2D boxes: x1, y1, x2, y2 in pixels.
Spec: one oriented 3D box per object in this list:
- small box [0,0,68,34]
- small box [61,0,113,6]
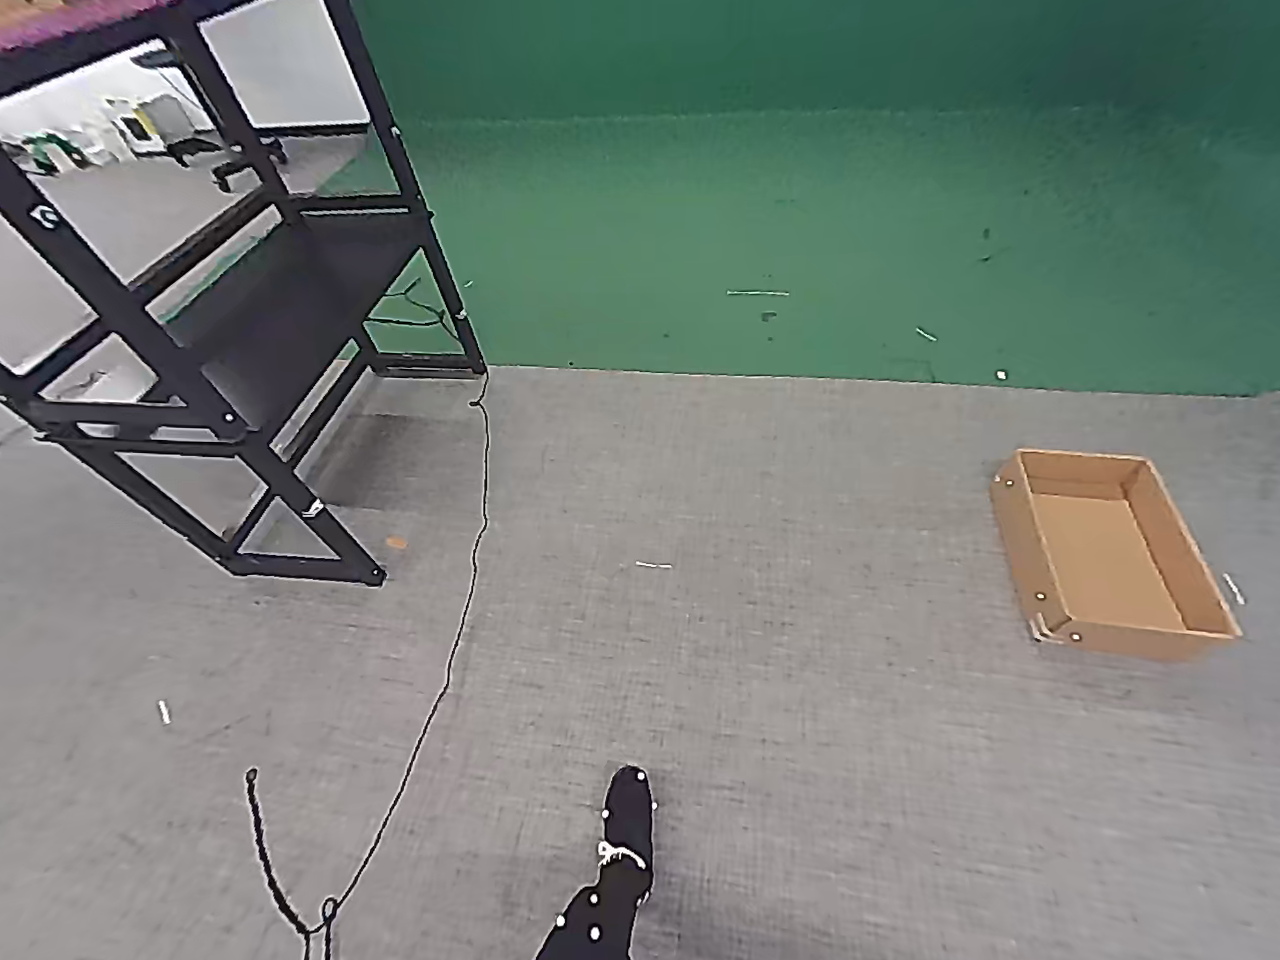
[{"bbox_3d":[-1.102,-0.815,0.854,0.179,0.176,0.168,3,51,8],"label":"small box"},{"bbox_3d":[-1.082,-1.040,1.039,0.179,0.176,0.168,5,53,10],"label":"small box"}]
